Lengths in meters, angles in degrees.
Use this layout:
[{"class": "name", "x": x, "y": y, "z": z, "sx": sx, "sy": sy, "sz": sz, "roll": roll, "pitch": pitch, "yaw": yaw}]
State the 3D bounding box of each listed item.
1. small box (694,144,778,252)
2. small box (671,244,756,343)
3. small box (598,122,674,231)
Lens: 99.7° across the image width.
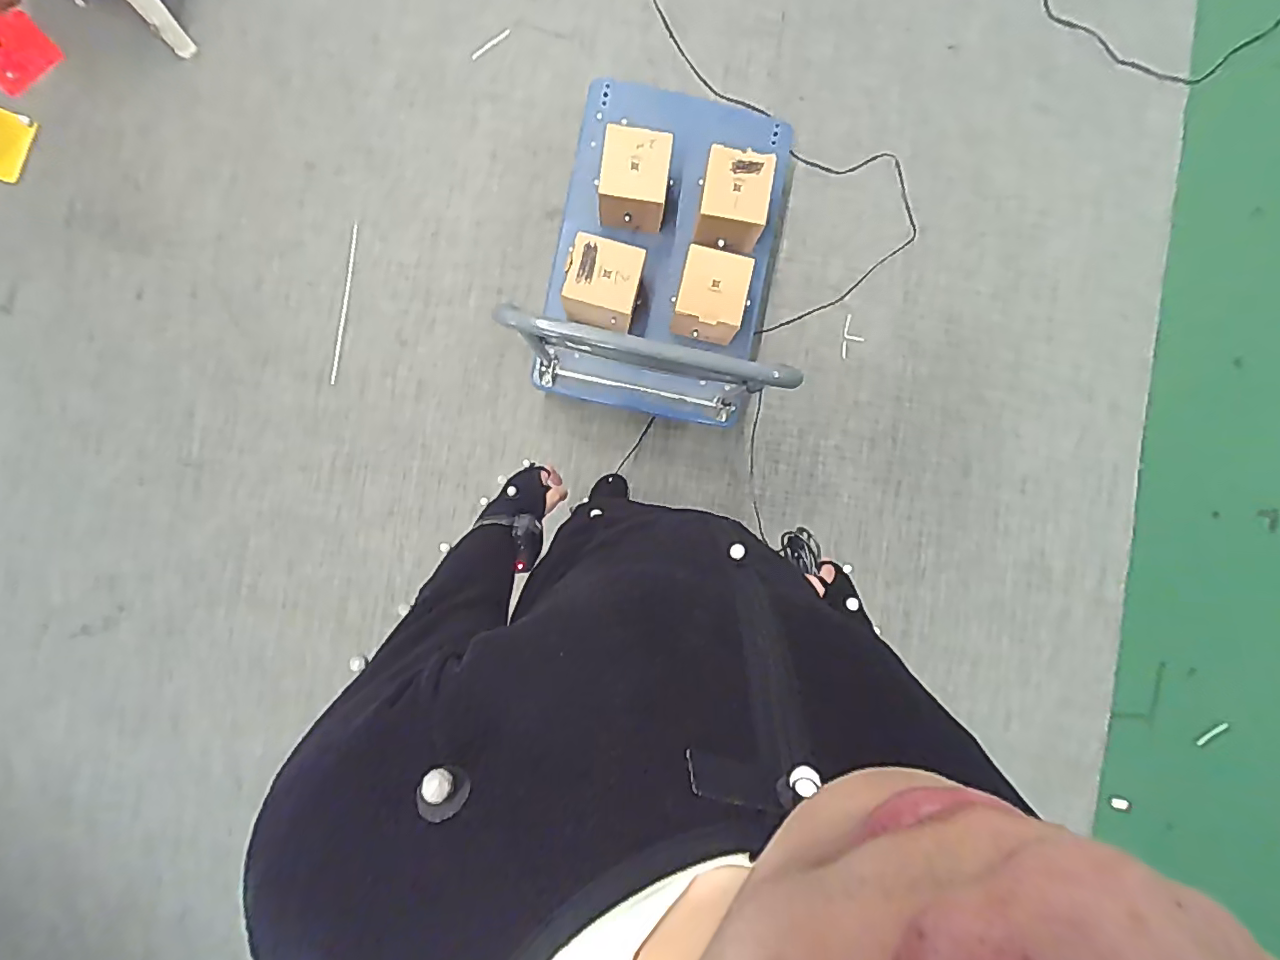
[{"class": "small box", "x": 0.239, "y": -0.719, "z": 1.395, "sx": 0.168, "sy": 0.176, "sz": 0.179, "roll": 10, "pitch": 90, "yaw": -2}, {"class": "small box", "x": 0.181, "y": -0.472, "z": 1.392, "sx": 0.168, "sy": 0.176, "sz": 0.179, "roll": 13, "pitch": 90, "yaw": -2}, {"class": "small box", "x": -0.013, "y": -0.765, "z": 1.383, "sx": 0.168, "sy": 0.176, "sz": 0.179, "roll": 8, "pitch": 89, "yaw": -3}]
